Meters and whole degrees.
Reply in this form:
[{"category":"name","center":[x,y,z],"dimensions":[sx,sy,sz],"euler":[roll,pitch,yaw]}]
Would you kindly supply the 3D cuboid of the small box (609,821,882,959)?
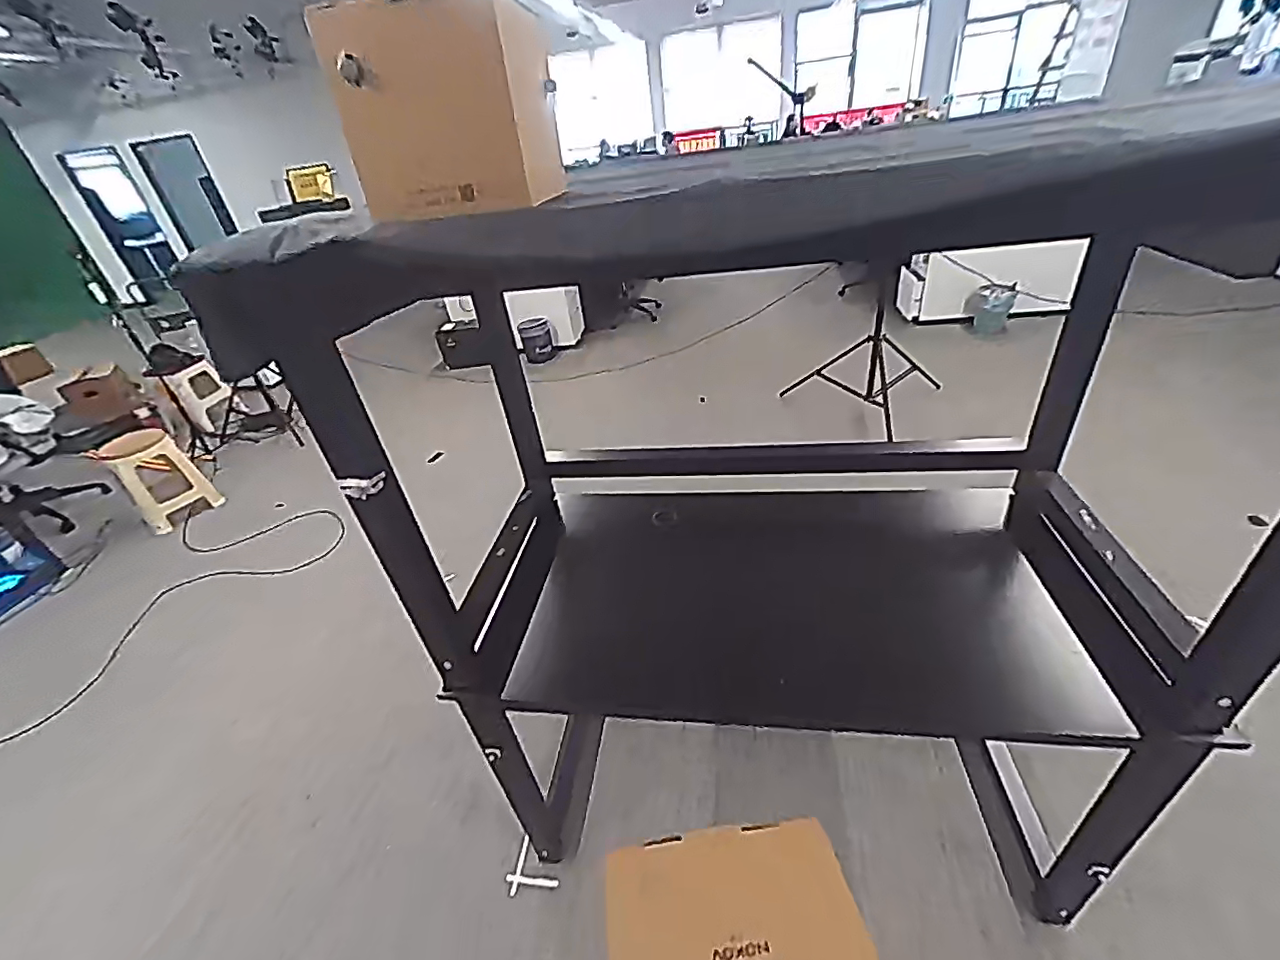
[{"category":"small box","center":[0.067,0.368,0.354],"dimensions":[0.168,0.176,0.179],"euler":[-5,29,-5]}]
